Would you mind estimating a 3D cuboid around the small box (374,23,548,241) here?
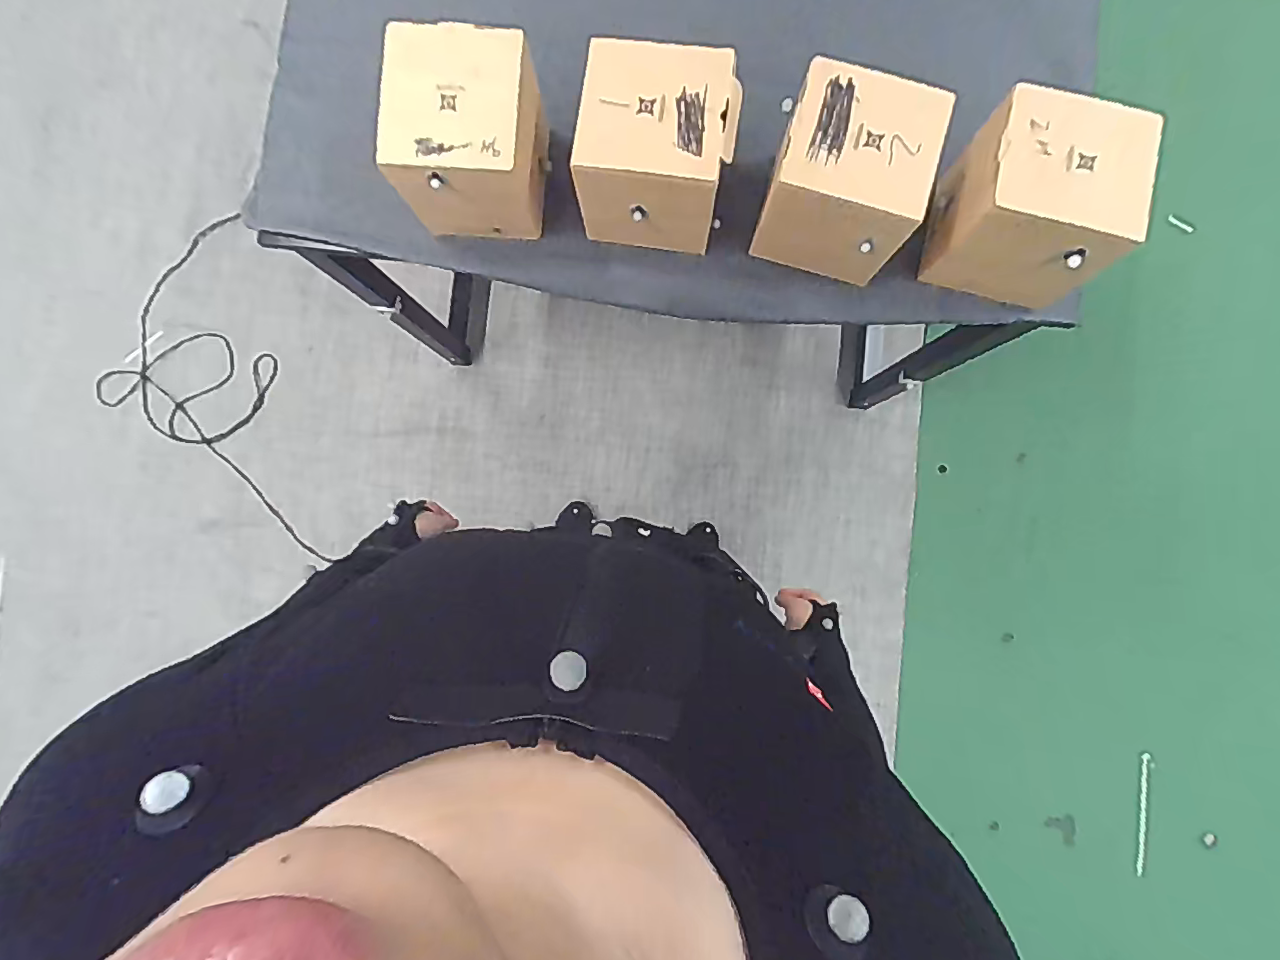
[{"bbox_3d":[-0.222,-0.447,0.716,0.168,0.176,0.179,4,87,2],"label":"small box"}]
